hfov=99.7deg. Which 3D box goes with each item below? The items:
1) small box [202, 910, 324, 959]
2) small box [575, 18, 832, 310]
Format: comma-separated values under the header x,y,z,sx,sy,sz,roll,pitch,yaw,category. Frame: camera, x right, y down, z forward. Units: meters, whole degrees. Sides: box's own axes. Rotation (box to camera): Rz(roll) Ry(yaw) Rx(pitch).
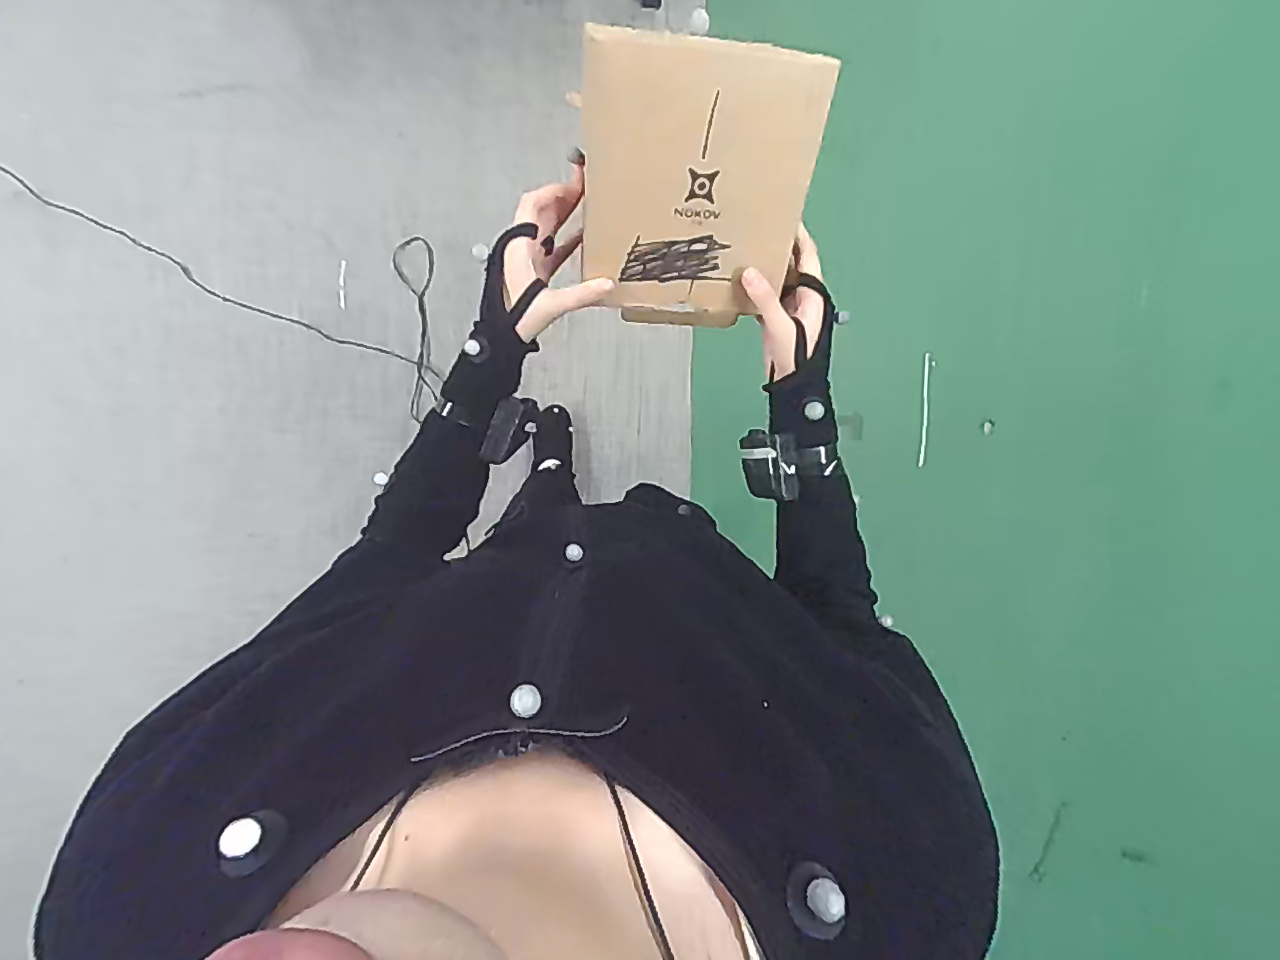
x,y,z,sx,sy,sz,roll,pitch,yaw,category
-0.721,0.950,1.015,0.168,0.176,0.179,-3,87,0,small box
0.031,-0.266,0.458,0.168,0.176,0.179,0,131,-9,small box
